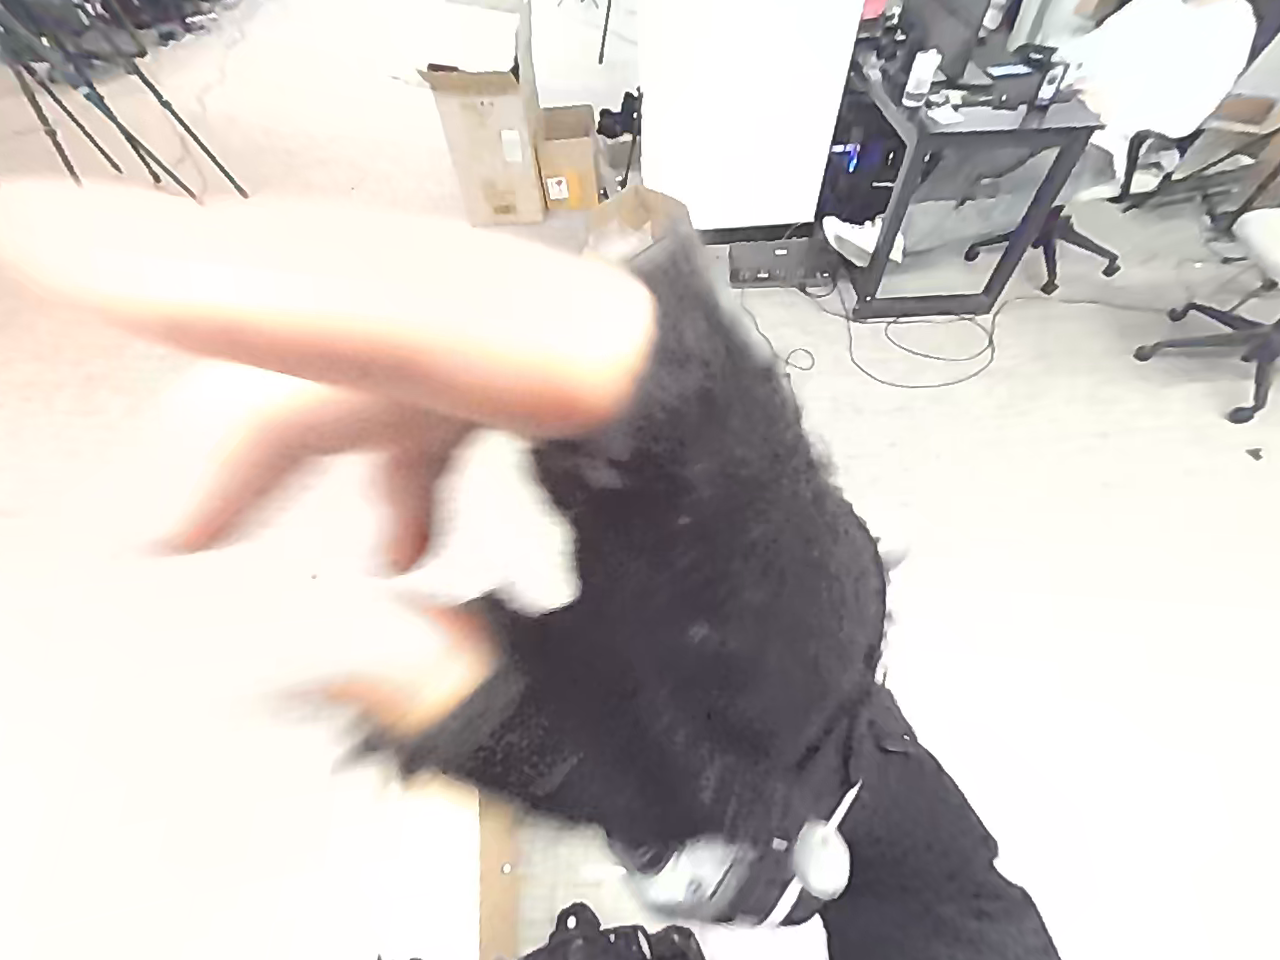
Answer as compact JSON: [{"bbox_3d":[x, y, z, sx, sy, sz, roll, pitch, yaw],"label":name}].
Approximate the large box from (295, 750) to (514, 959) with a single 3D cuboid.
[{"bbox_3d":[-0.441,0.812,1.085,0.320,0.320,0.408,-9,54,-4],"label":"large box"}]
